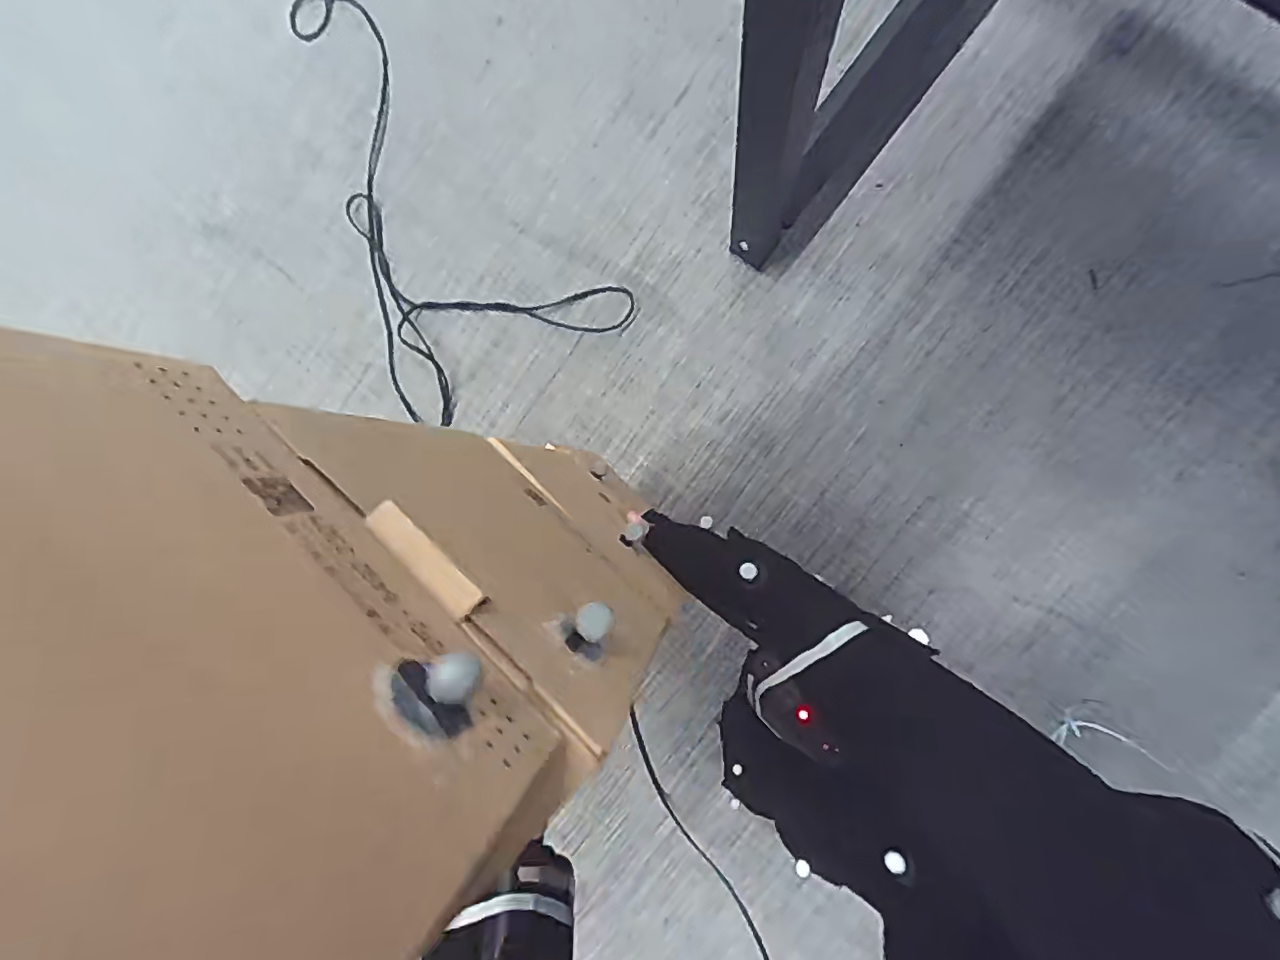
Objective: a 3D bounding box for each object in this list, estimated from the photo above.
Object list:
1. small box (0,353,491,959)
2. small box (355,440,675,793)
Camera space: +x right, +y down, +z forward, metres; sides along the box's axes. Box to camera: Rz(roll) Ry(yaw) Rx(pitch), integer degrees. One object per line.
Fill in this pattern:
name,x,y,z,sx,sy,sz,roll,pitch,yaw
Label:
small box,-0.153,0.083,0.095,0.168,0.176,0.179,44,99,7
small box,-0.086,0.088,0.418,0.179,0.176,0.168,-45,84,7
